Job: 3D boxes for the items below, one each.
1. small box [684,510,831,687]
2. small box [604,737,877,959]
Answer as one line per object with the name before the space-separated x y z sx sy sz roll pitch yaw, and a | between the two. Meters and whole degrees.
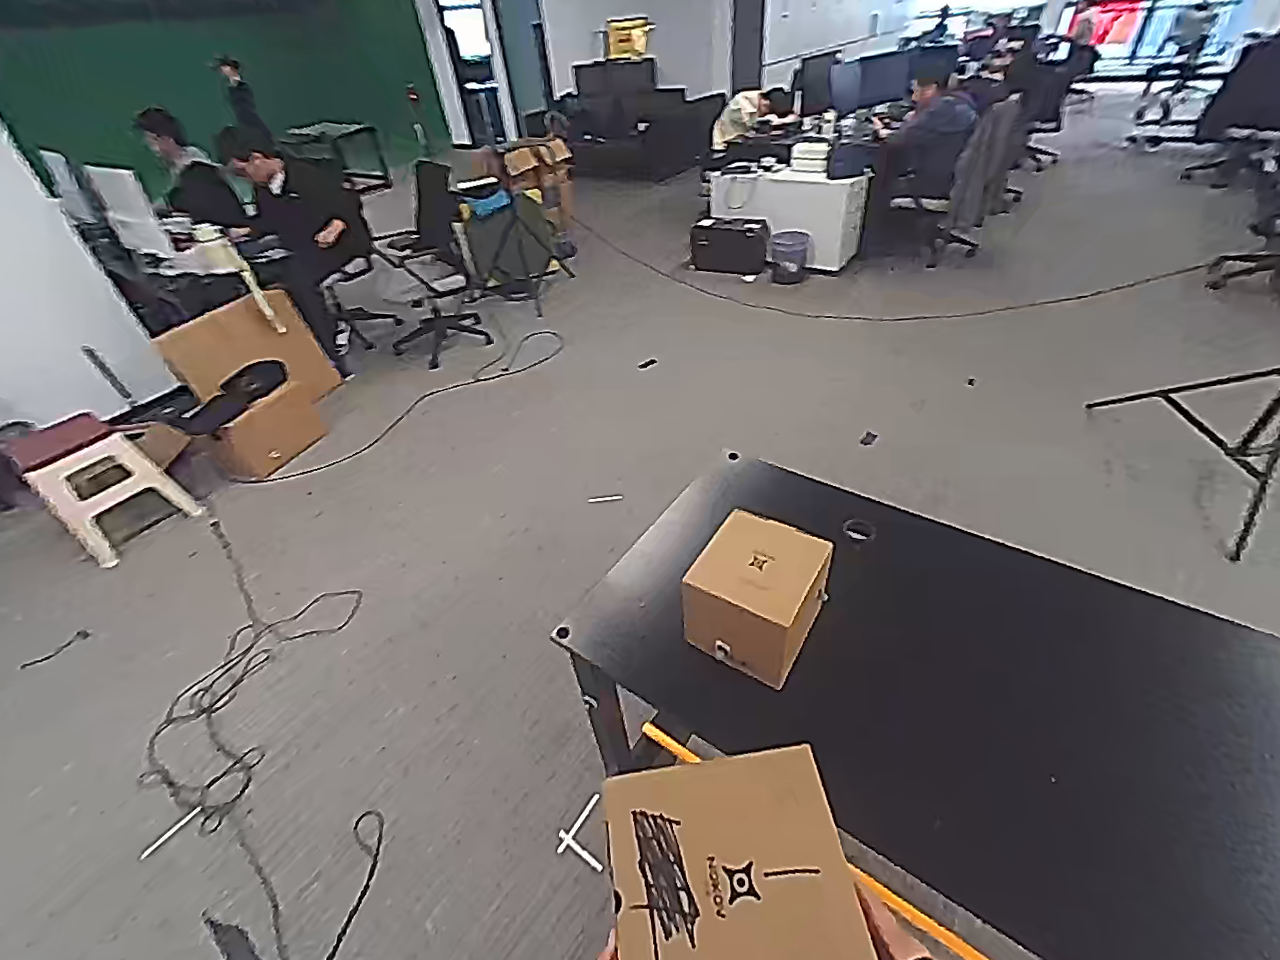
small box | 0.181 0.183 0.851 0.168 0.176 0.179 19 47 28
small box | 0.073 0.340 0.455 0.179 0.176 0.168 -9 48 -1
